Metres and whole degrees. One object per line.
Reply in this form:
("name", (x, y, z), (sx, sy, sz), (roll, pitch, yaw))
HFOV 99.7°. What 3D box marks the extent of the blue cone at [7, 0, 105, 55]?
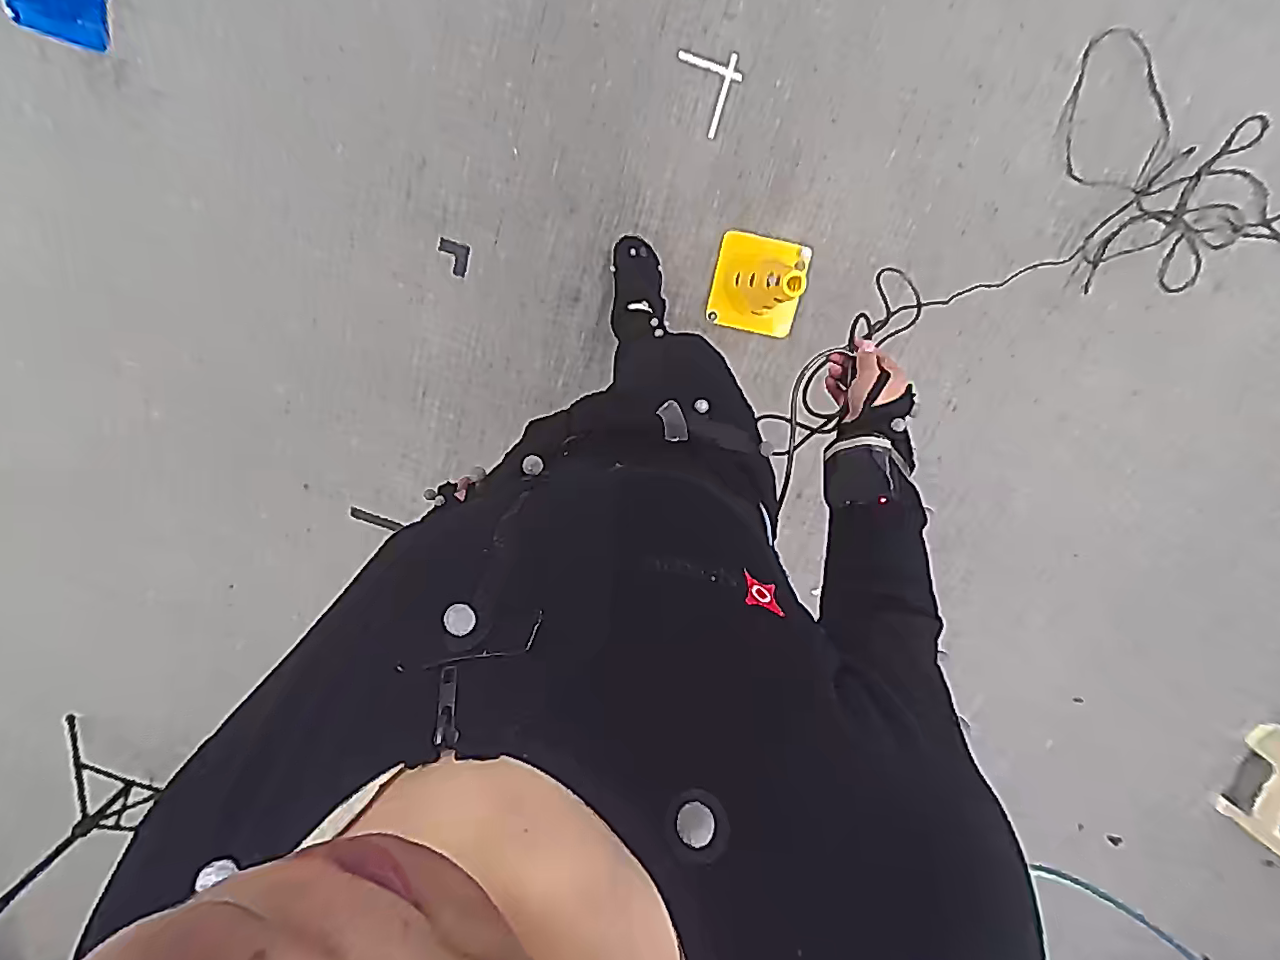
("blue cone", (-1.181, -0.928, 0.929), (0.193, 0.380, 0.192), (19, 110, -4))
